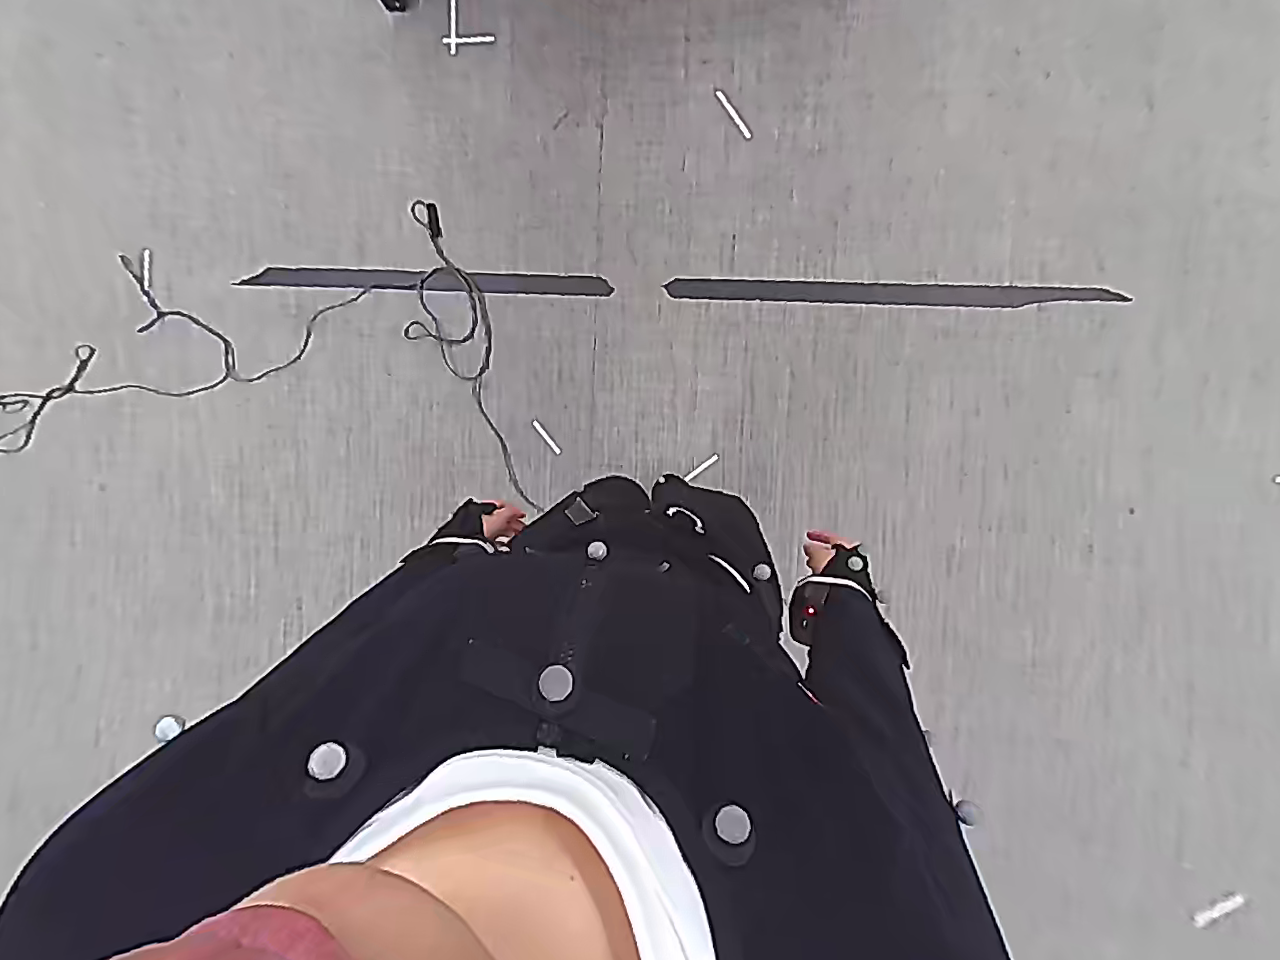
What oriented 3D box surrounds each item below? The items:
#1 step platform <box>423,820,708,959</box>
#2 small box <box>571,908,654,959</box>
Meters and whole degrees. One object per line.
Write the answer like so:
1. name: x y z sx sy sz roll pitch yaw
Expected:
1. step platform: -0.177 1.070 1.331 0.684 0.204 0.286 3 93 5
2. small box: -0.060 1.066 1.143 0.168 0.176 0.179 4 93 5
